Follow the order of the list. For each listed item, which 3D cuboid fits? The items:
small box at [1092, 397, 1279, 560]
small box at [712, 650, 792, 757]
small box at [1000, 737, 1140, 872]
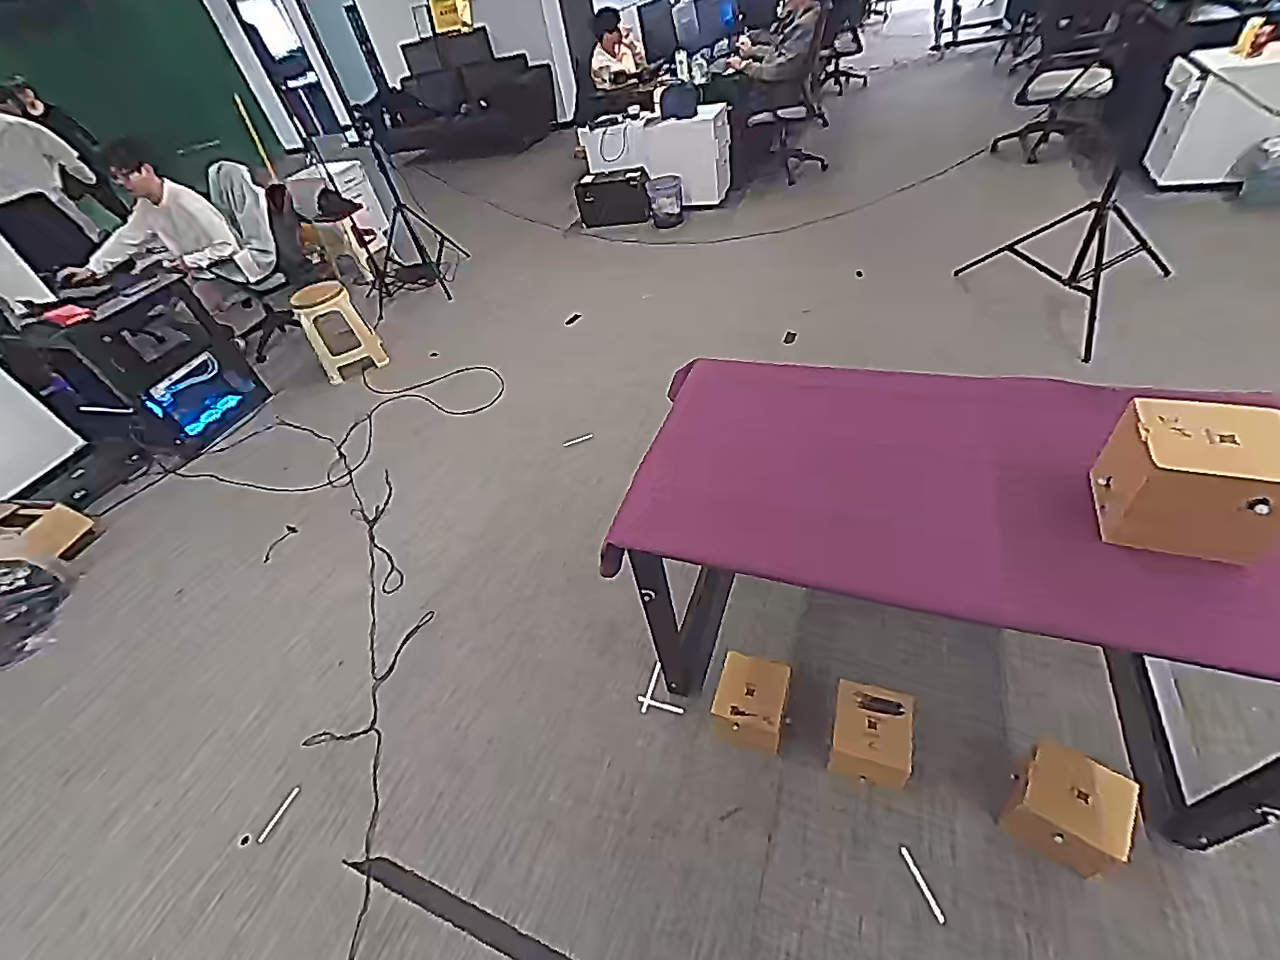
[{"bbox_3d":[0.830,-0.002,0.815,0.179,0.176,0.168,10,48,23],"label":"small box"},{"bbox_3d":[0.292,0.581,1.405,0.168,0.176,0.179,10,47,22],"label":"small box"},{"bbox_3d":[0.905,0.693,1.148,0.179,0.176,0.168,23,55,33],"label":"small box"}]
